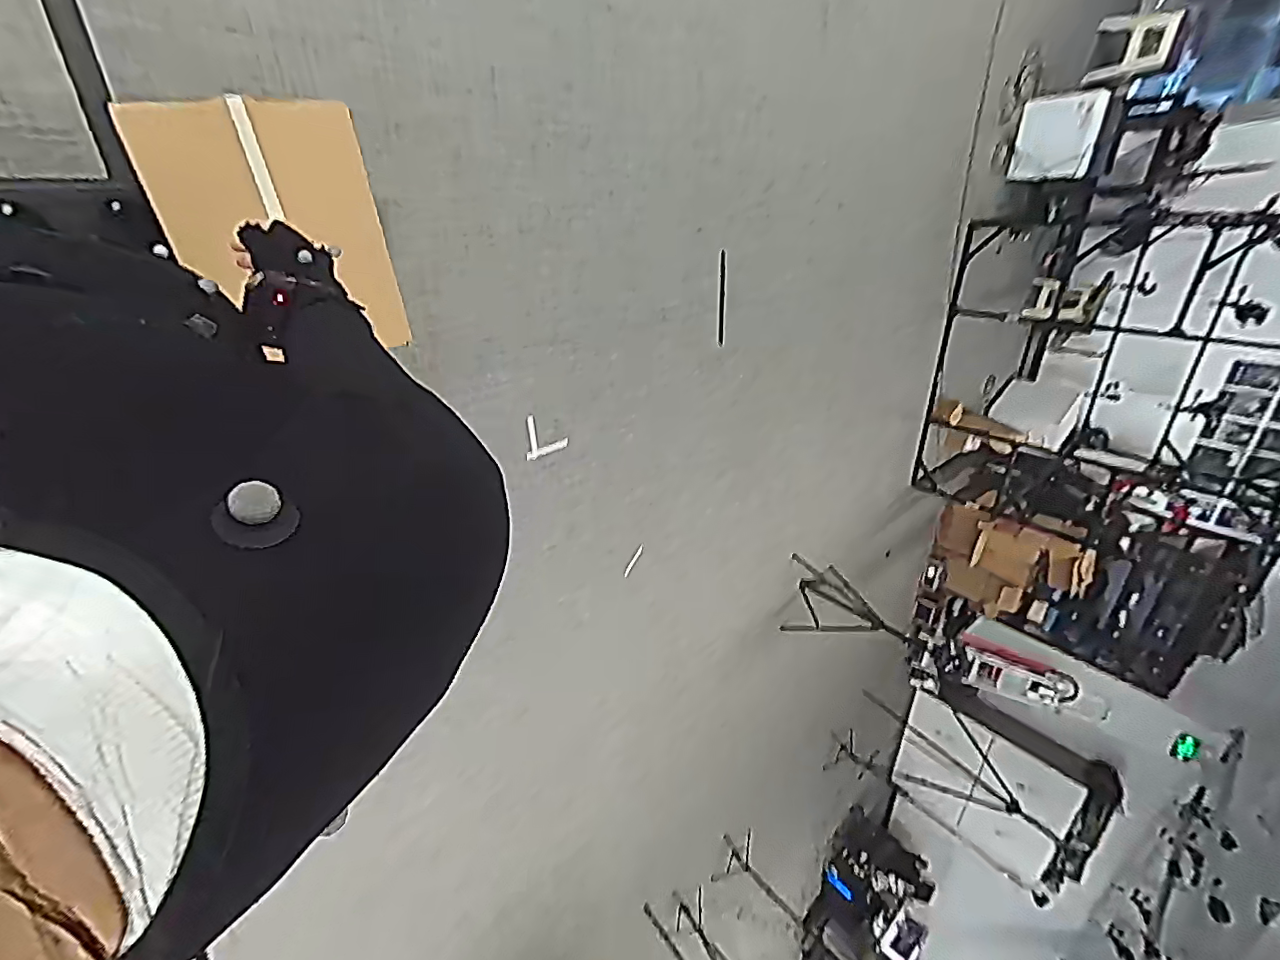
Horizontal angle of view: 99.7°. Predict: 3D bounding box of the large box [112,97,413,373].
[{"bbox_3d":[-0.682,-0.466,1.026,0.320,0.320,0.408,-22,125,-27],"label":"large box"}]
